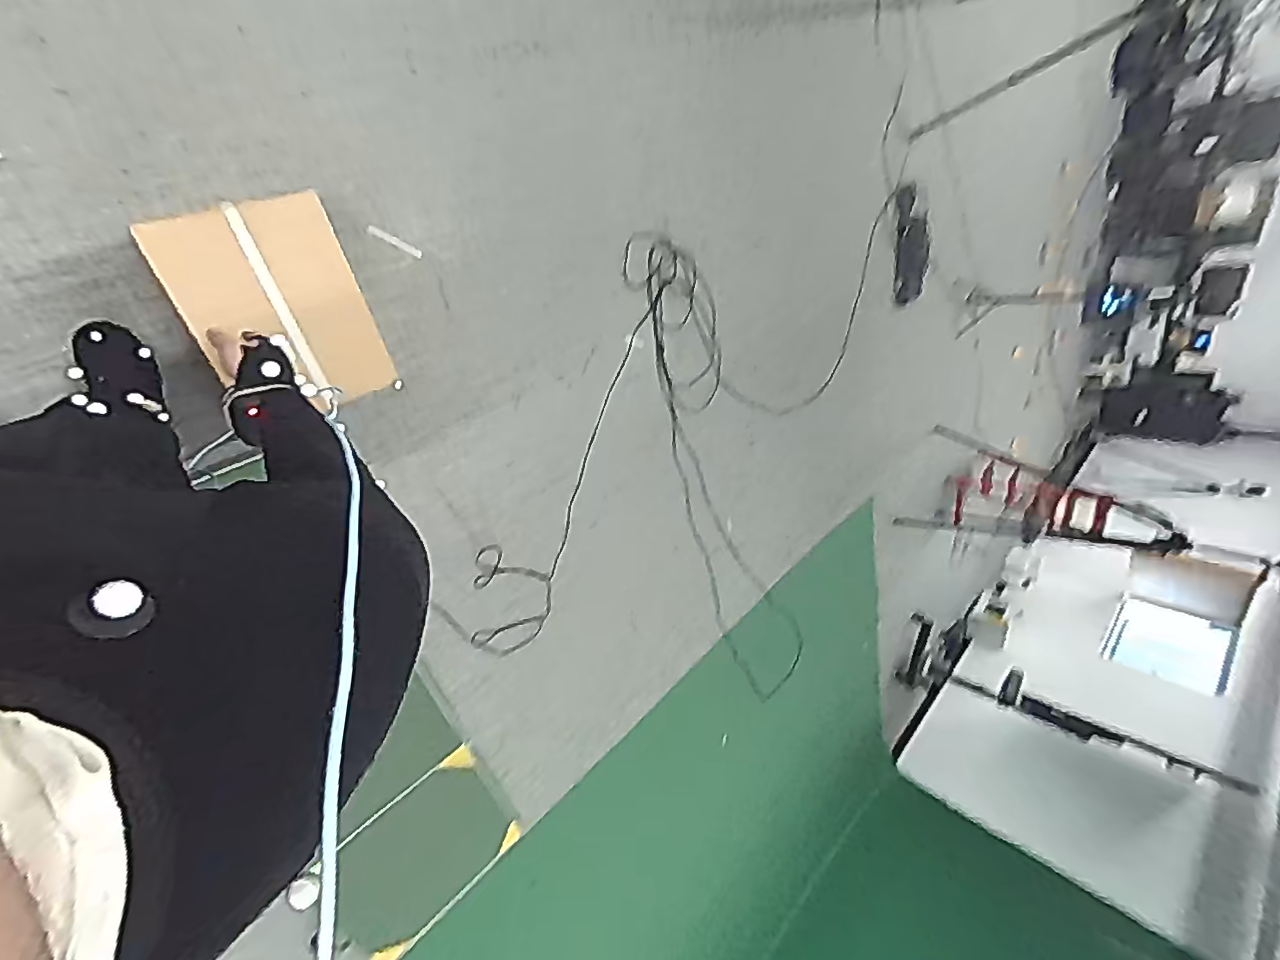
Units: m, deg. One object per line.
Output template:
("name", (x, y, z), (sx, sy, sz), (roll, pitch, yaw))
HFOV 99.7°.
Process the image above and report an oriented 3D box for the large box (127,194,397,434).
("large box", (-0.820, -0.365, 1.194), (0.320, 0.320, 0.408), (-33, 124, -31))
